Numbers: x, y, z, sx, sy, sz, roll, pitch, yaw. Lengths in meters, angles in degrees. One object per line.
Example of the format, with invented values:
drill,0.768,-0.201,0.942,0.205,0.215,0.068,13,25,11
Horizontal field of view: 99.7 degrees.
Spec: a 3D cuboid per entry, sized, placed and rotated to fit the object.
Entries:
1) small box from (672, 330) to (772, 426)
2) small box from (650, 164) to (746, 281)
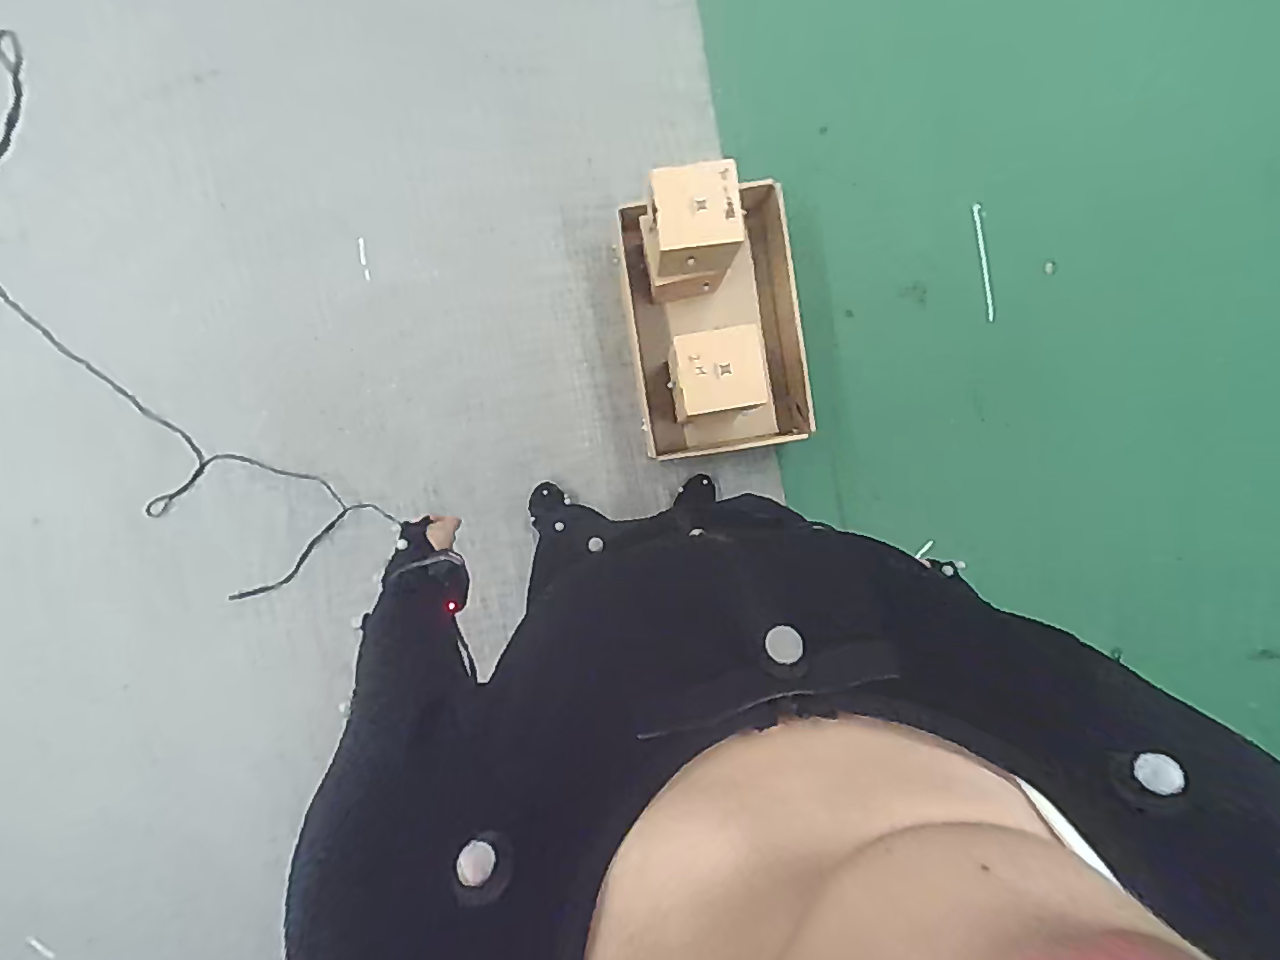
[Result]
small box,0.171,-0.214,1.171,0.179,0.176,0.168,-9,91,1
small box,0.119,-0.540,1.157,0.179,0.176,0.168,-7,93,1
